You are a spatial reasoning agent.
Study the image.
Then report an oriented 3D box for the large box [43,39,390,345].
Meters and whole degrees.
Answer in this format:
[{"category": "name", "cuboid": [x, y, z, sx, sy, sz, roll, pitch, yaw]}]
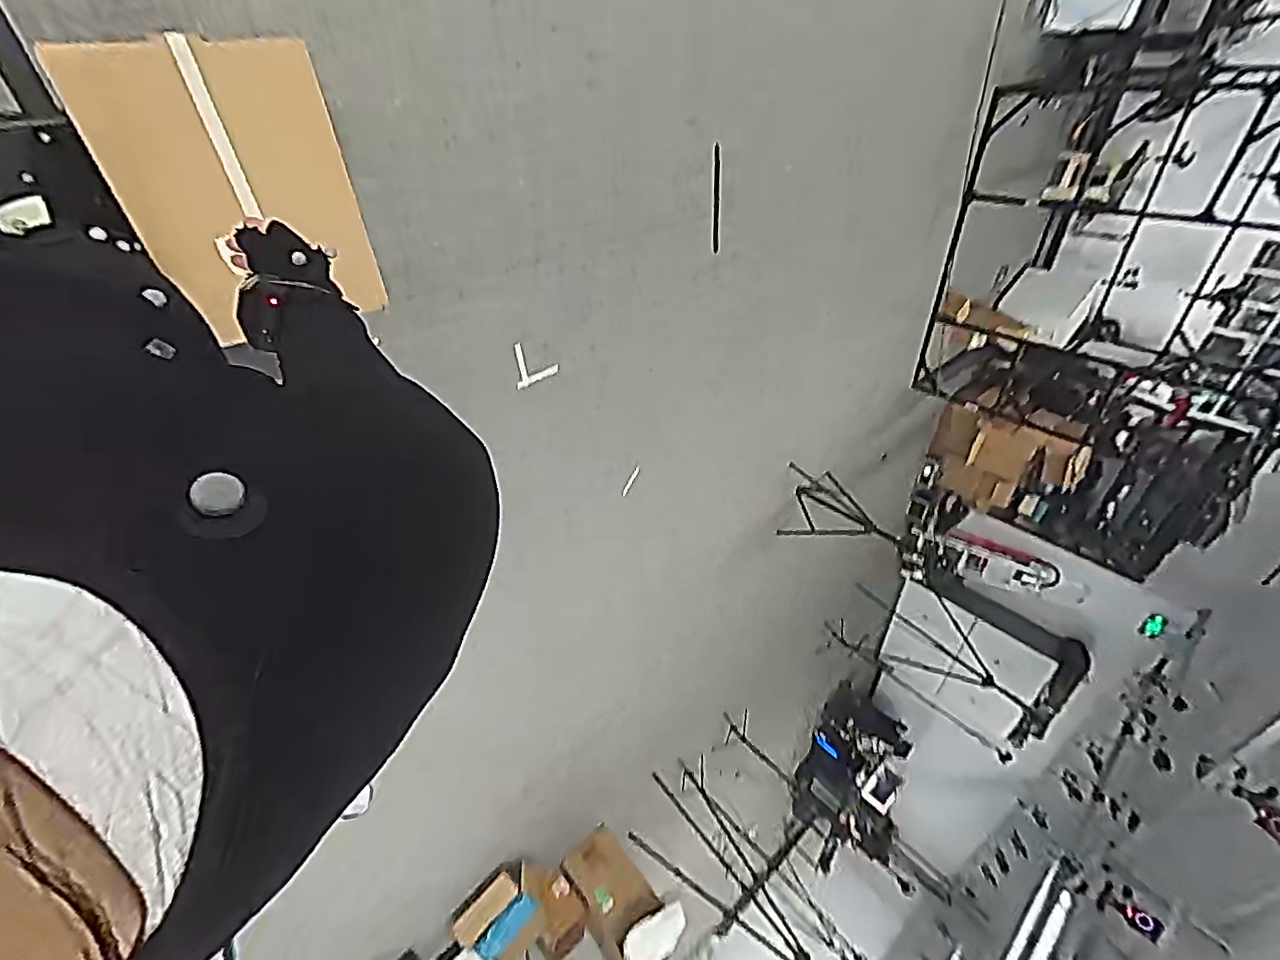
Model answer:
[{"category": "large box", "cuboid": [-0.702, -0.513, 0.958, 0.320, 0.320, 0.408, -24, 133, -25]}]
